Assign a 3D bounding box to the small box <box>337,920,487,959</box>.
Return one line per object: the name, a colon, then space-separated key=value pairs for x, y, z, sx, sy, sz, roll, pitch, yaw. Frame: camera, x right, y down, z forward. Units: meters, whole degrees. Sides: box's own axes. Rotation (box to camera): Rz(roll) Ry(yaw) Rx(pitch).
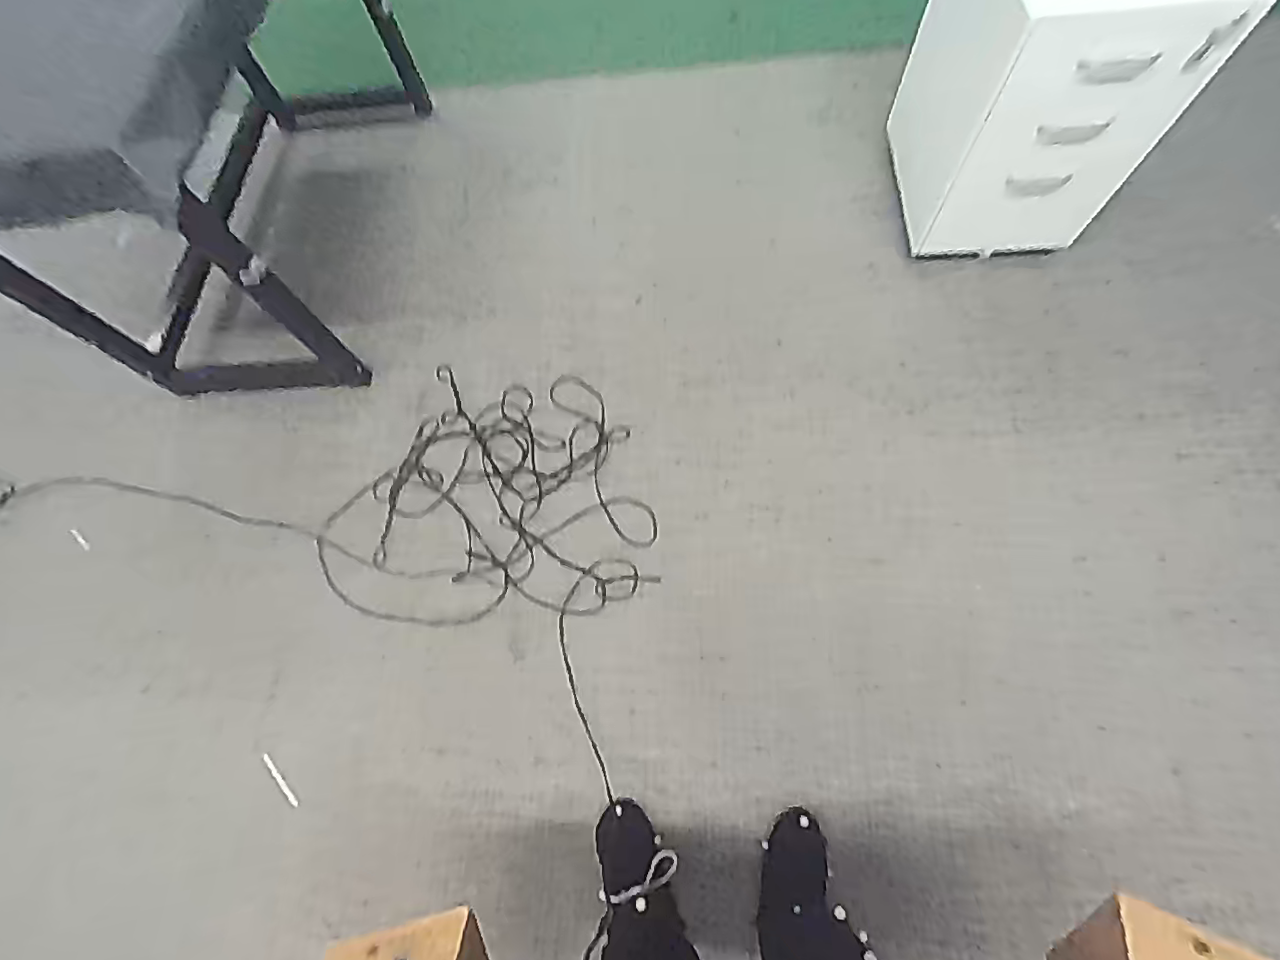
small box: x=-0.239 y=0.606 z=0.542 sx=0.168 sy=0.176 sz=0.179 roll=-16 pitch=99 yaw=-2
